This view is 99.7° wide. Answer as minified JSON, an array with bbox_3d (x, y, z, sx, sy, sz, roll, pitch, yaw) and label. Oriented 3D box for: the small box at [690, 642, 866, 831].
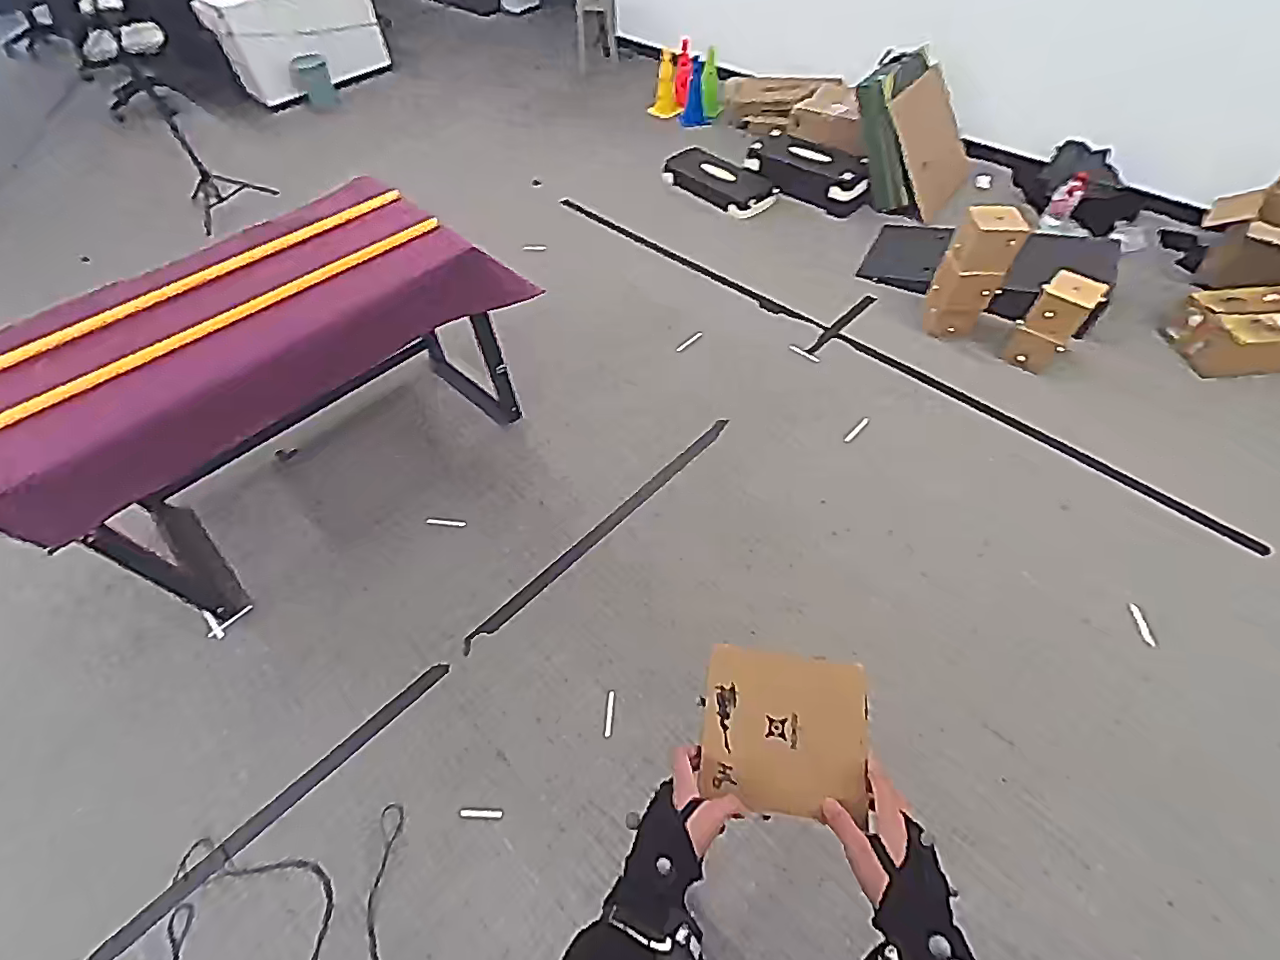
[{"bbox_3d":[0.158,0.301,0.655,0.179,0.176,0.168,6,66,8],"label":"small box"}]
